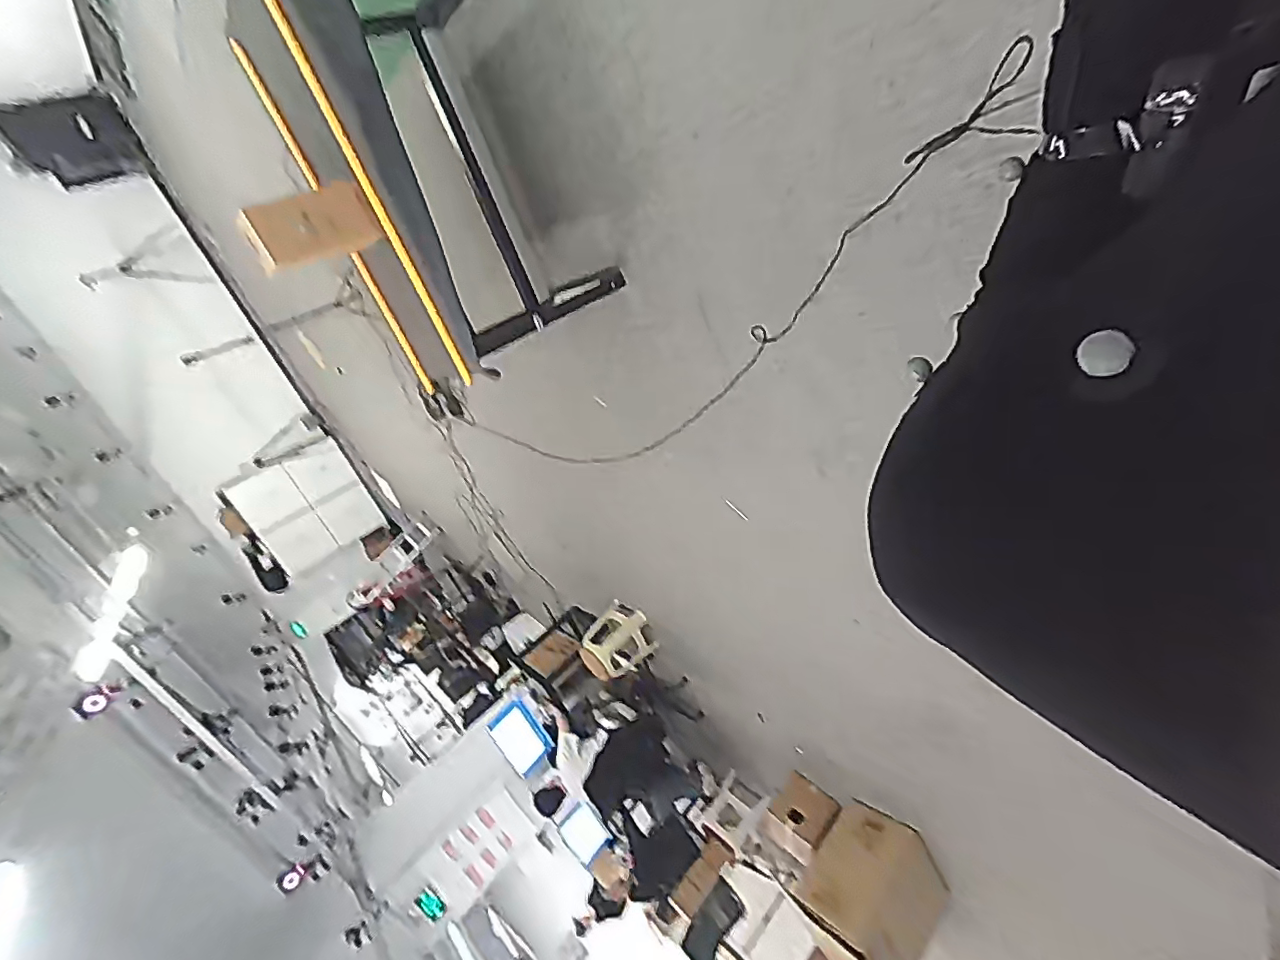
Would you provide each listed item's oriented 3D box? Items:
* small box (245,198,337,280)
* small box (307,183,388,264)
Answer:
[{"bbox_3d":[-1.042,-0.720,1.622,0.179,0.176,0.168,8,128,50],"label":"small box"},{"bbox_3d":[-0.924,-0.805,1.700,0.179,0.176,0.168,8,128,52],"label":"small box"}]
